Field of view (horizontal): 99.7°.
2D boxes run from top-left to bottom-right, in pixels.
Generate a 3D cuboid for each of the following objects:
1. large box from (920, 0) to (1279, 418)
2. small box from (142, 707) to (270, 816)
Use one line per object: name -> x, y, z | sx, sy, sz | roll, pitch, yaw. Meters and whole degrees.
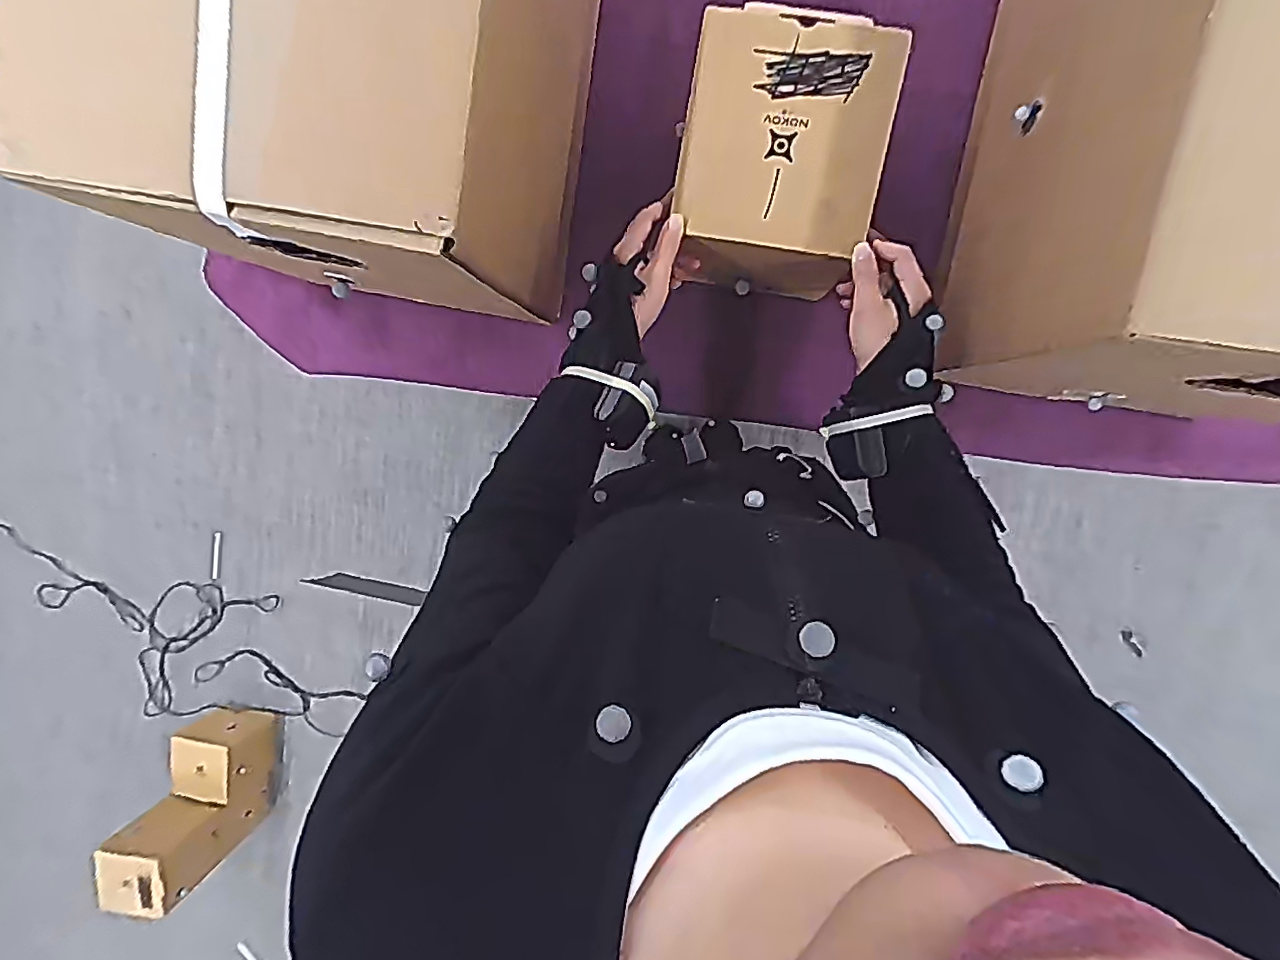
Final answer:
large box -> 0.465, -0.266, 0.419 | 0.320, 0.320, 0.408 | 10, 97, 4
small box -> -1.164, 0.756, 1.456 | 0.179, 0.176, 0.168 | 35, 86, -9
